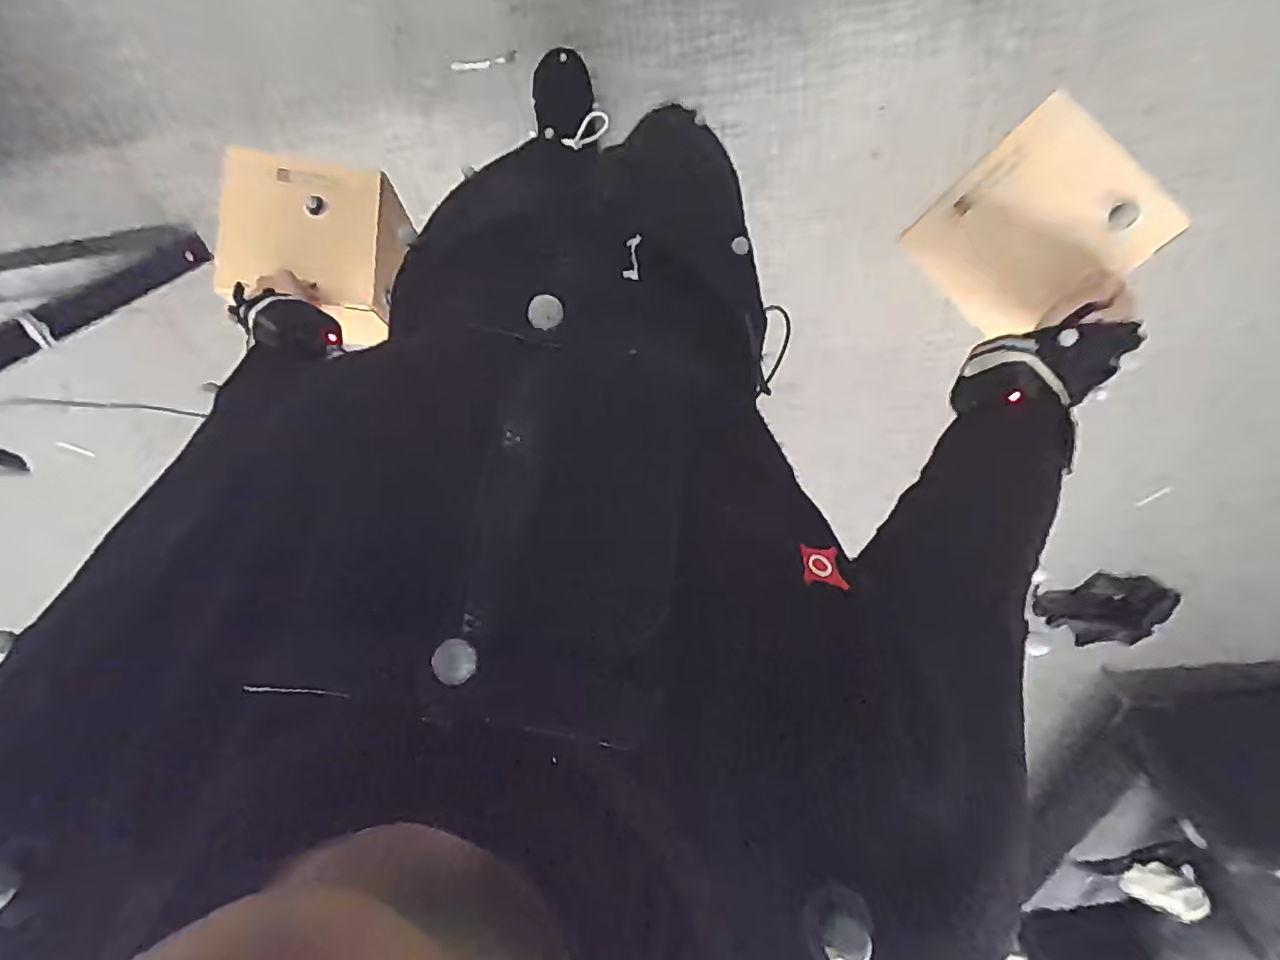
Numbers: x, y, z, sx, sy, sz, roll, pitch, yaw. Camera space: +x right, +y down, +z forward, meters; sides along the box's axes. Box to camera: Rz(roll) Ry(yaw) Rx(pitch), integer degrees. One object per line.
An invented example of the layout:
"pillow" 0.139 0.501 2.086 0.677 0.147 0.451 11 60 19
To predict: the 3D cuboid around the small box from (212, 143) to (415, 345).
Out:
"small box" -0.394 -0.283 0.685 0.168 0.179 0.176 4 89 -9
